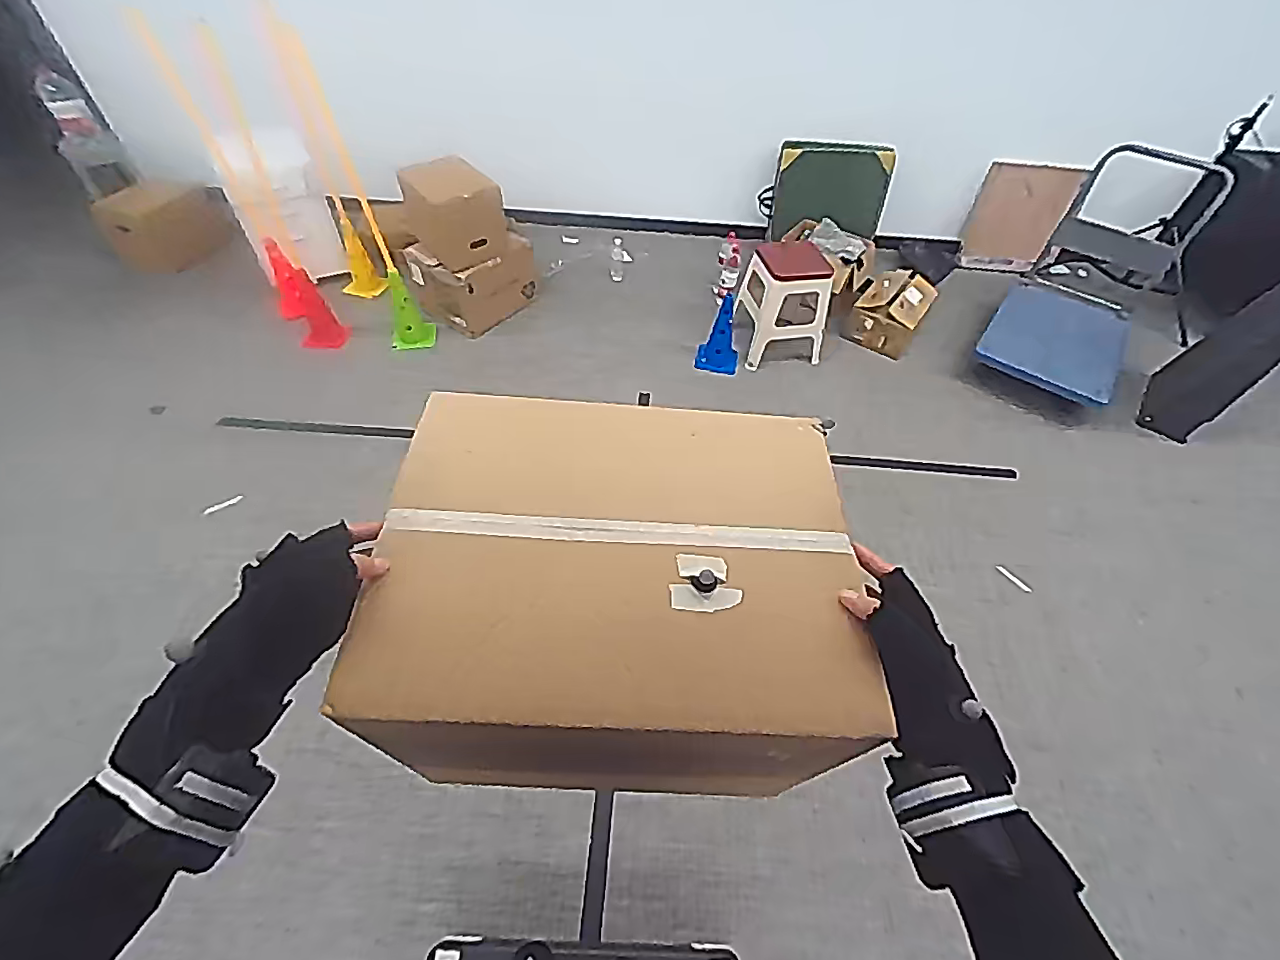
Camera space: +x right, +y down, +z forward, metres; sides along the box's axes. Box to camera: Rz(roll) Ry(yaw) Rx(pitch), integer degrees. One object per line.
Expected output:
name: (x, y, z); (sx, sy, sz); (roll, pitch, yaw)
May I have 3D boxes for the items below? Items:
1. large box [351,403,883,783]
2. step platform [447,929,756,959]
large box: (-0.024, 0.141, 0.603); (0.408, 0.320, 0.320); (4, 54, -4)
step platform: (-0.083, 1.120, 1.114); (0.684, 0.204, 0.286); (3, 50, -2)
